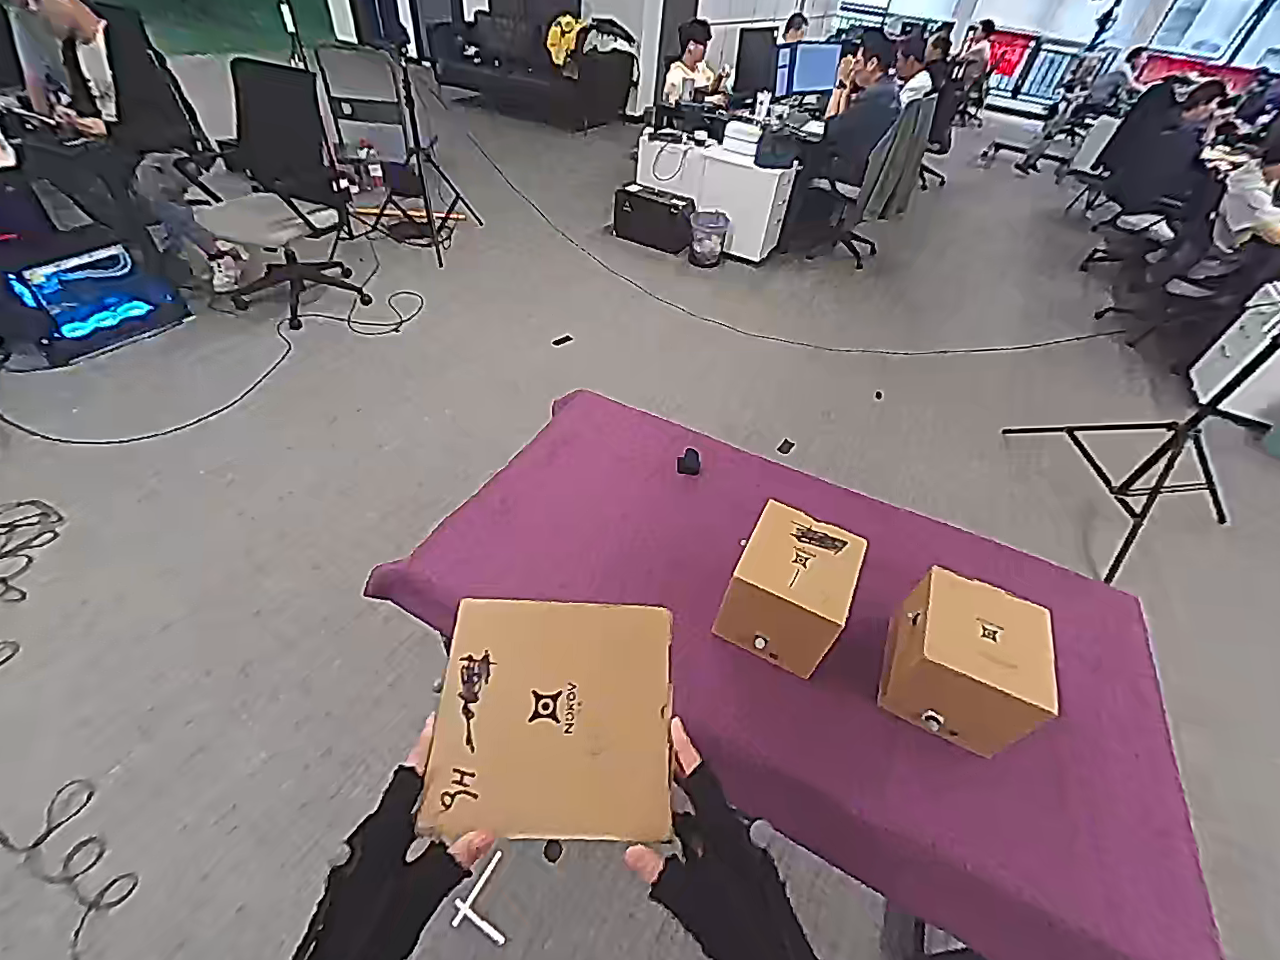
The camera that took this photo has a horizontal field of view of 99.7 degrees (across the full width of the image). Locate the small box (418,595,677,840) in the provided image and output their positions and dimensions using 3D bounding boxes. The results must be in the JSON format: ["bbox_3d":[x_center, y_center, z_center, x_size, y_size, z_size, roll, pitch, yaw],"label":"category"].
[{"bbox_3d":[-0.067,0.213,0.474,0.179,0.176,0.168,4,56,-4],"label":"small box"}]

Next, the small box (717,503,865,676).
[{"bbox_3d":[0.236,0.175,0.869,0.168,0.176,0.179,23,47,16],"label":"small box"}]

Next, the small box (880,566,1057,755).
[{"bbox_3d":[0.478,0.268,0.808,0.168,0.176,0.179,21,46,15],"label":"small box"}]
